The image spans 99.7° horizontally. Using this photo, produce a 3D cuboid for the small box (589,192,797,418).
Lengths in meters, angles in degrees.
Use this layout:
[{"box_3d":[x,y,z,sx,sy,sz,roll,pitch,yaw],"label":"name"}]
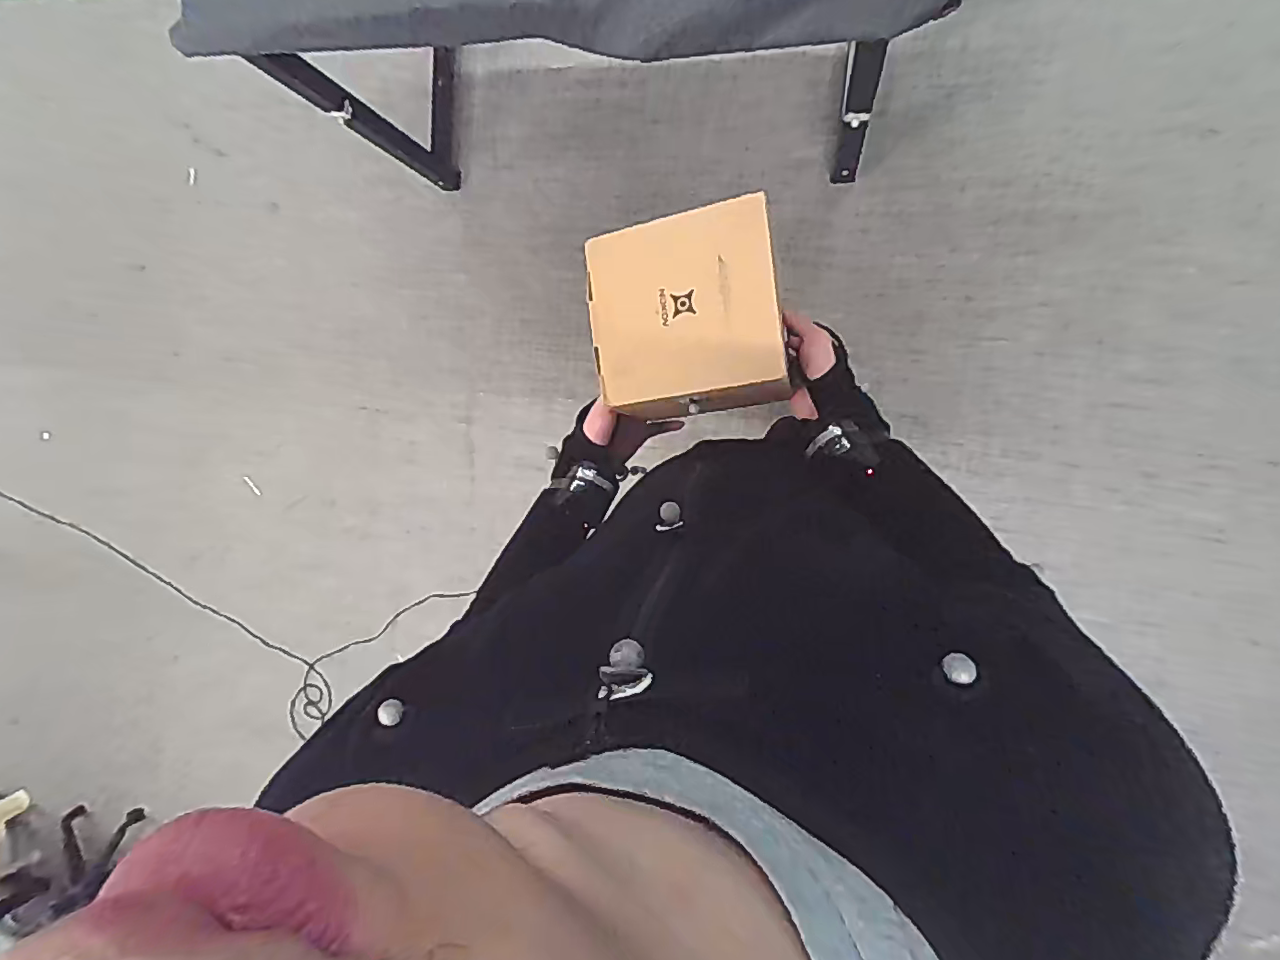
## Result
[{"box_3d":[0.065,-0.163,0.572,0.179,0.176,0.168,-7,90,18],"label":"small box"}]
